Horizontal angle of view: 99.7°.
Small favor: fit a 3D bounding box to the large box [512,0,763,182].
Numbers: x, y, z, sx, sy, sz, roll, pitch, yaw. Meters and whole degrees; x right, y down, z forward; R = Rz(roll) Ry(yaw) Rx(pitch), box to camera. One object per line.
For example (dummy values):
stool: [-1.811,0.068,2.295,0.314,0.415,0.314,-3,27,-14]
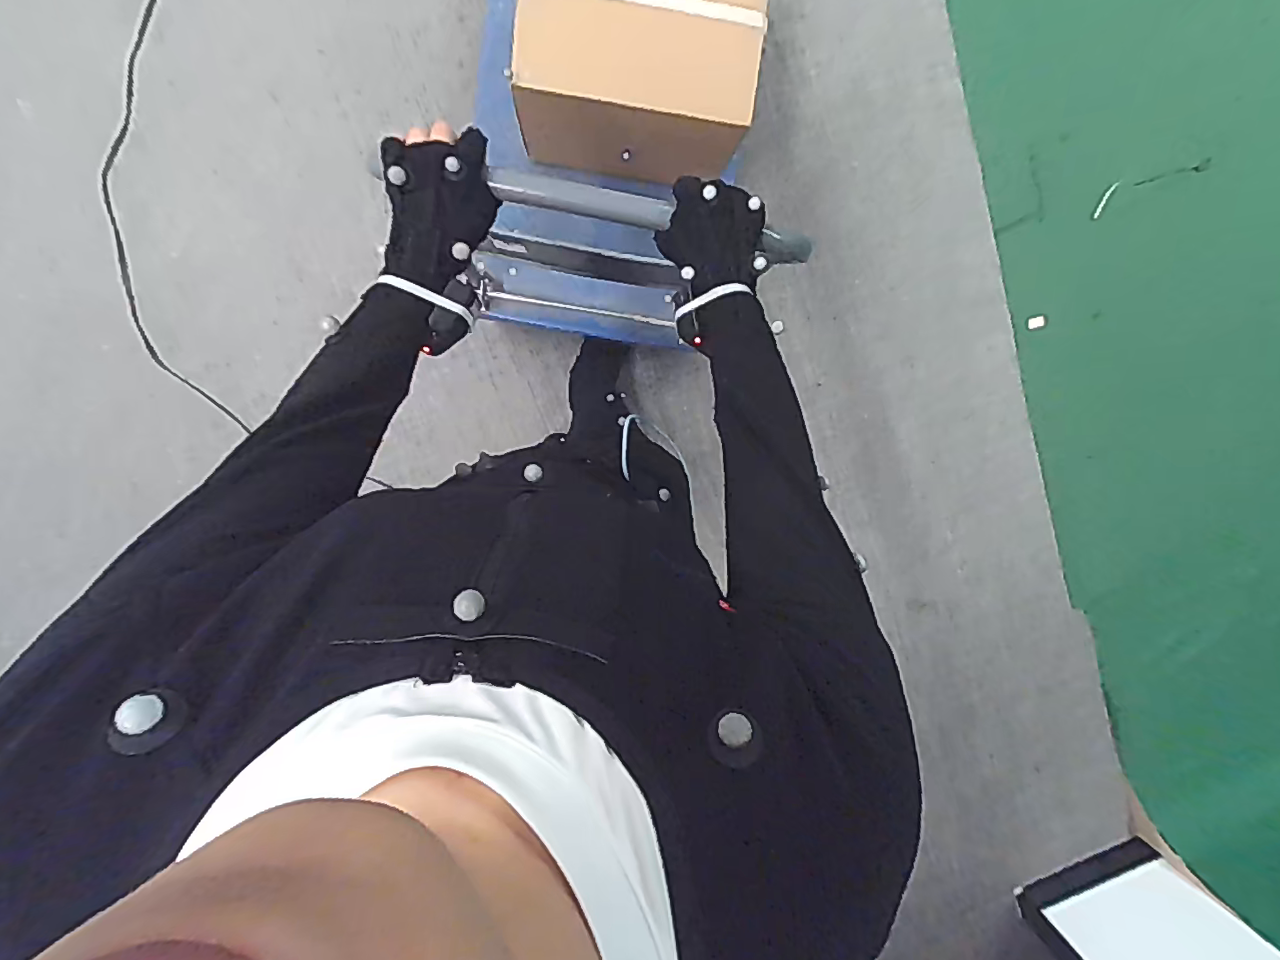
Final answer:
large box: [-0.009,-0.798,1.018,0.408,0.320,0.320,5,98,-6]
